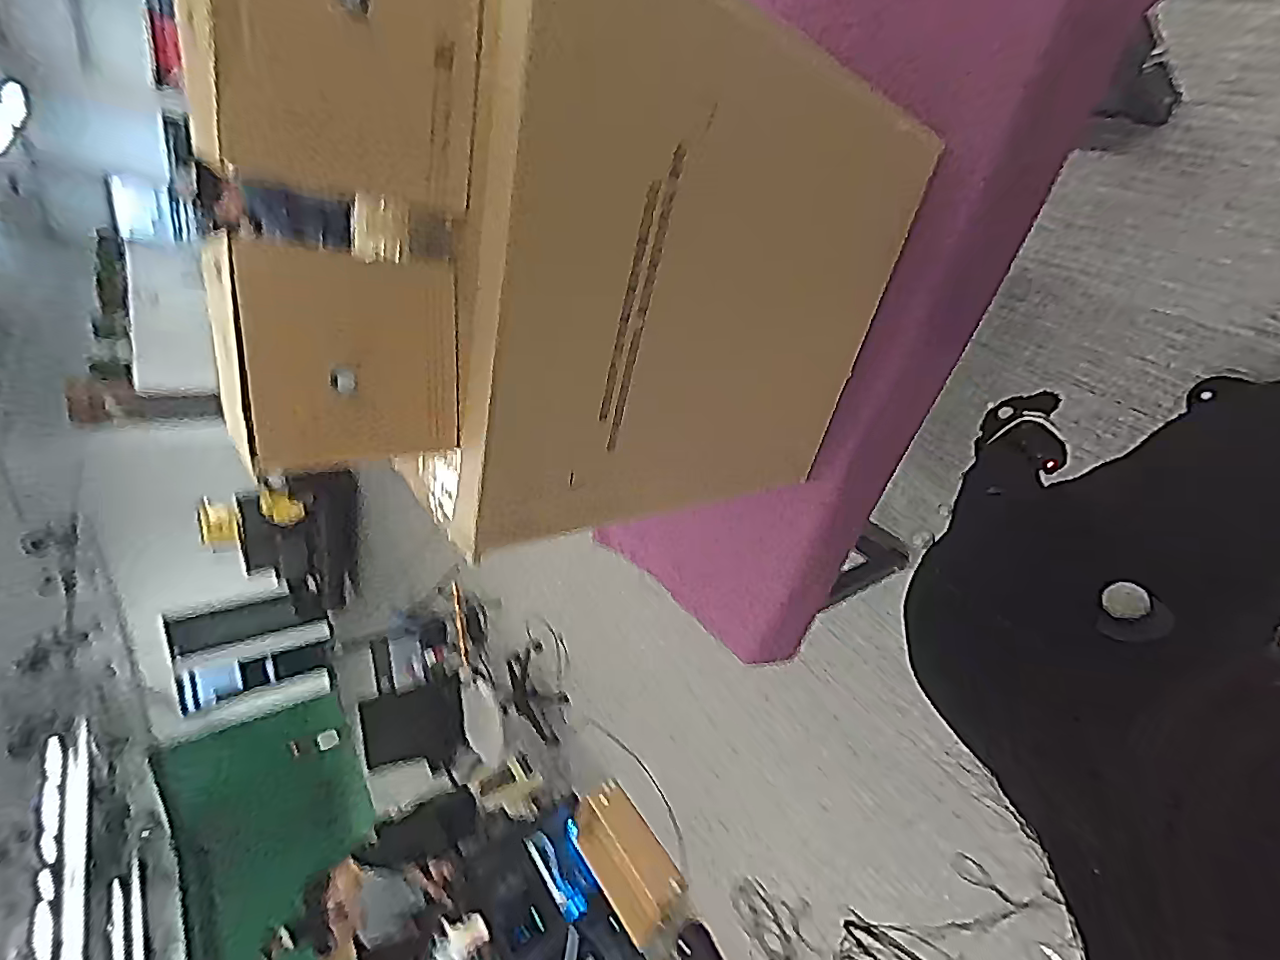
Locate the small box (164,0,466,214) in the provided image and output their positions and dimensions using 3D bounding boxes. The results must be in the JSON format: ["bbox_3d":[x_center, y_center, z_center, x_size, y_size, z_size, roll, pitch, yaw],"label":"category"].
[{"bbox_3d":[-0.247,-0.316,0.416,0.179,0.176,0.168,37,124,40],"label":"small box"}]

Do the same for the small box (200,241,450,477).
[{"bbox_3d":[-0.289,-0.115,0.507,0.168,0.176,0.179,20,112,45],"label":"small box"}]
